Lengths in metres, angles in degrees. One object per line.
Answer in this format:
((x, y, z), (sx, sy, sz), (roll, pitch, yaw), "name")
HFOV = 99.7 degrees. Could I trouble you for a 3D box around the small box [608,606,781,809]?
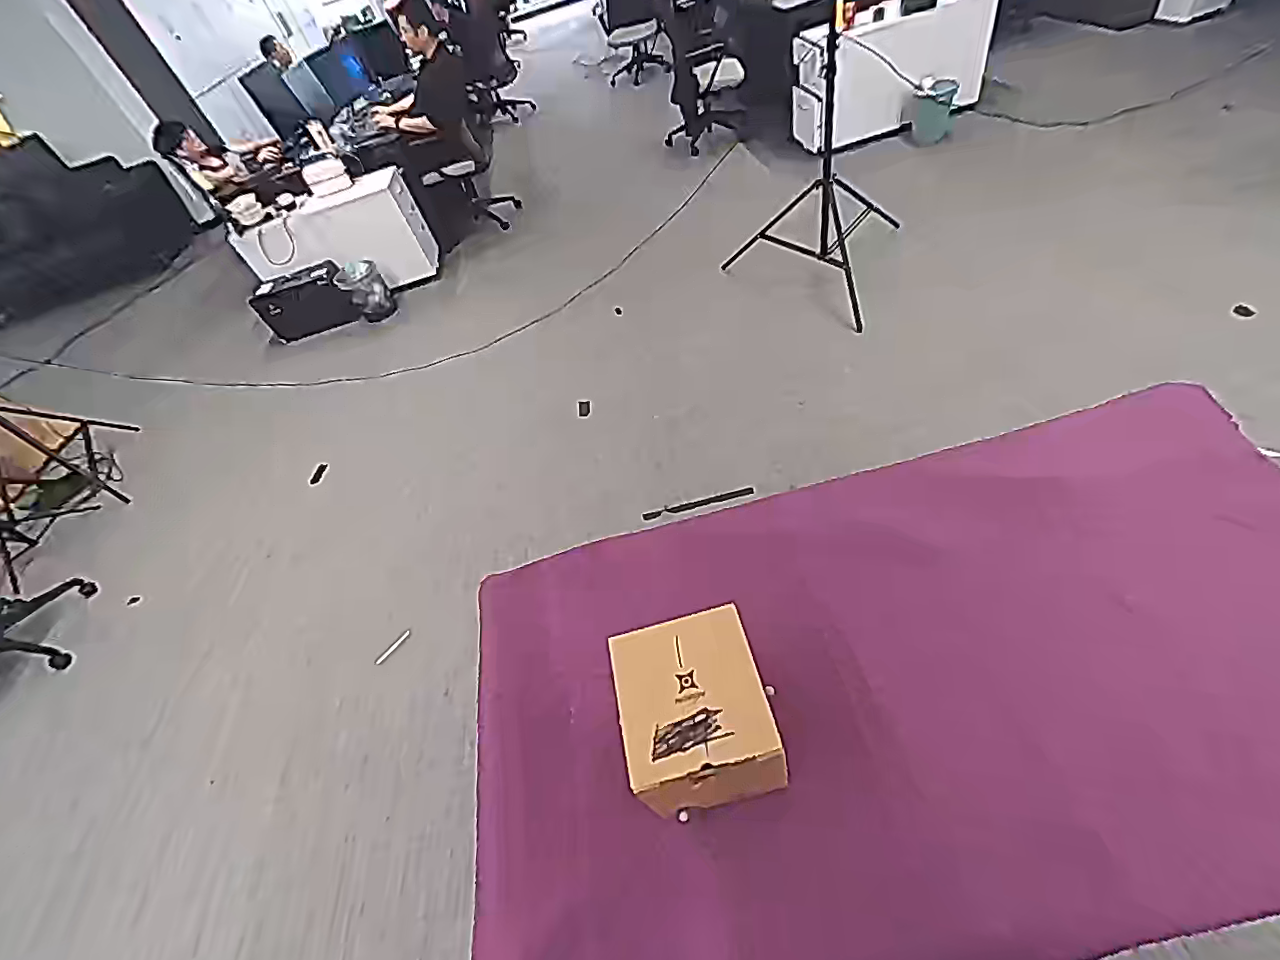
((0.070, 0.289, 0.672), (0.168, 0.176, 0.179), (-16, 47, 2), "small box")
